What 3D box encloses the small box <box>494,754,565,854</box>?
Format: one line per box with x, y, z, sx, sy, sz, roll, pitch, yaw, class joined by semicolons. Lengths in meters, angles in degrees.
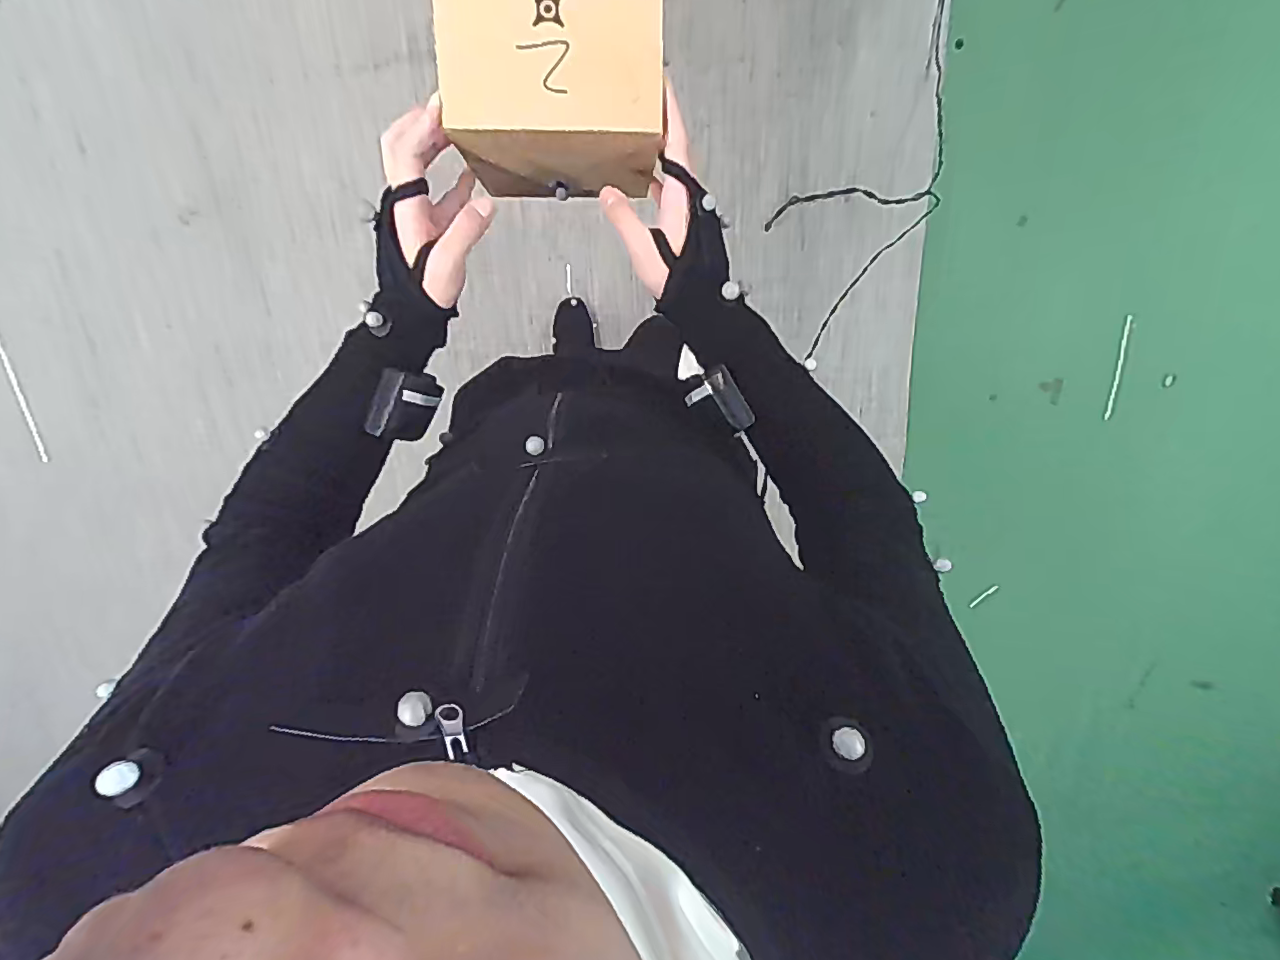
-0.300;0.888;1.492;0.168;0.176;0.179;6;105;-5;small box

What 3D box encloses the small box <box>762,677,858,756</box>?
0.455;0.684;1.484;0.179;0.176;0.168;-36;106;7;small box
